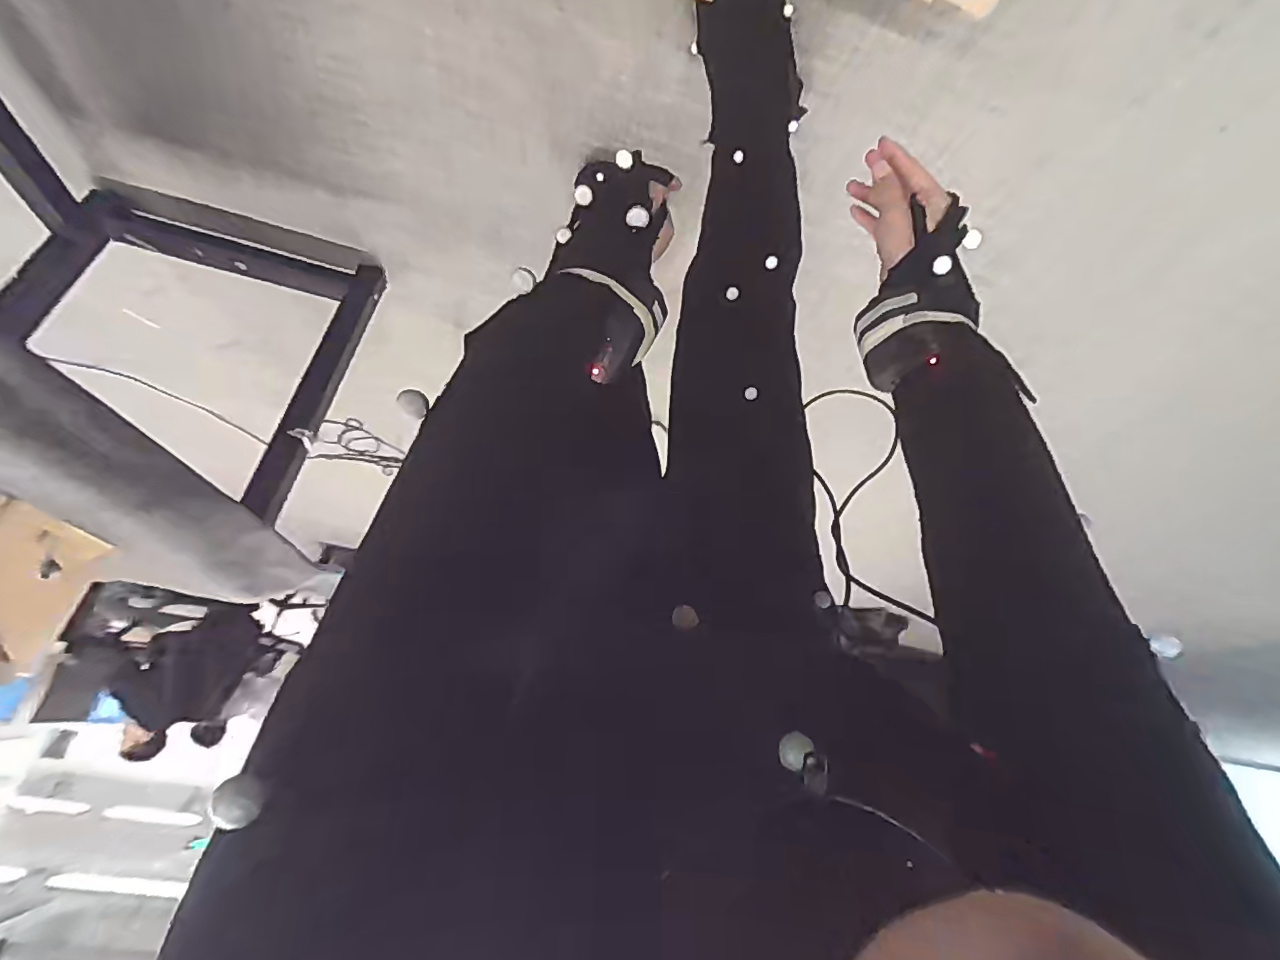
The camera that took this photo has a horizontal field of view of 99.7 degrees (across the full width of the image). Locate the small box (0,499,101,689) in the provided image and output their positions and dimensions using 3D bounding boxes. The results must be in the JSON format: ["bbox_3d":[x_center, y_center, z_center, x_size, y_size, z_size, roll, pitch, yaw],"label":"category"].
[{"bbox_3d":[-0.744,0.107,0.560,0.179,0.176,0.168,12,152,-8],"label":"small box"}]
